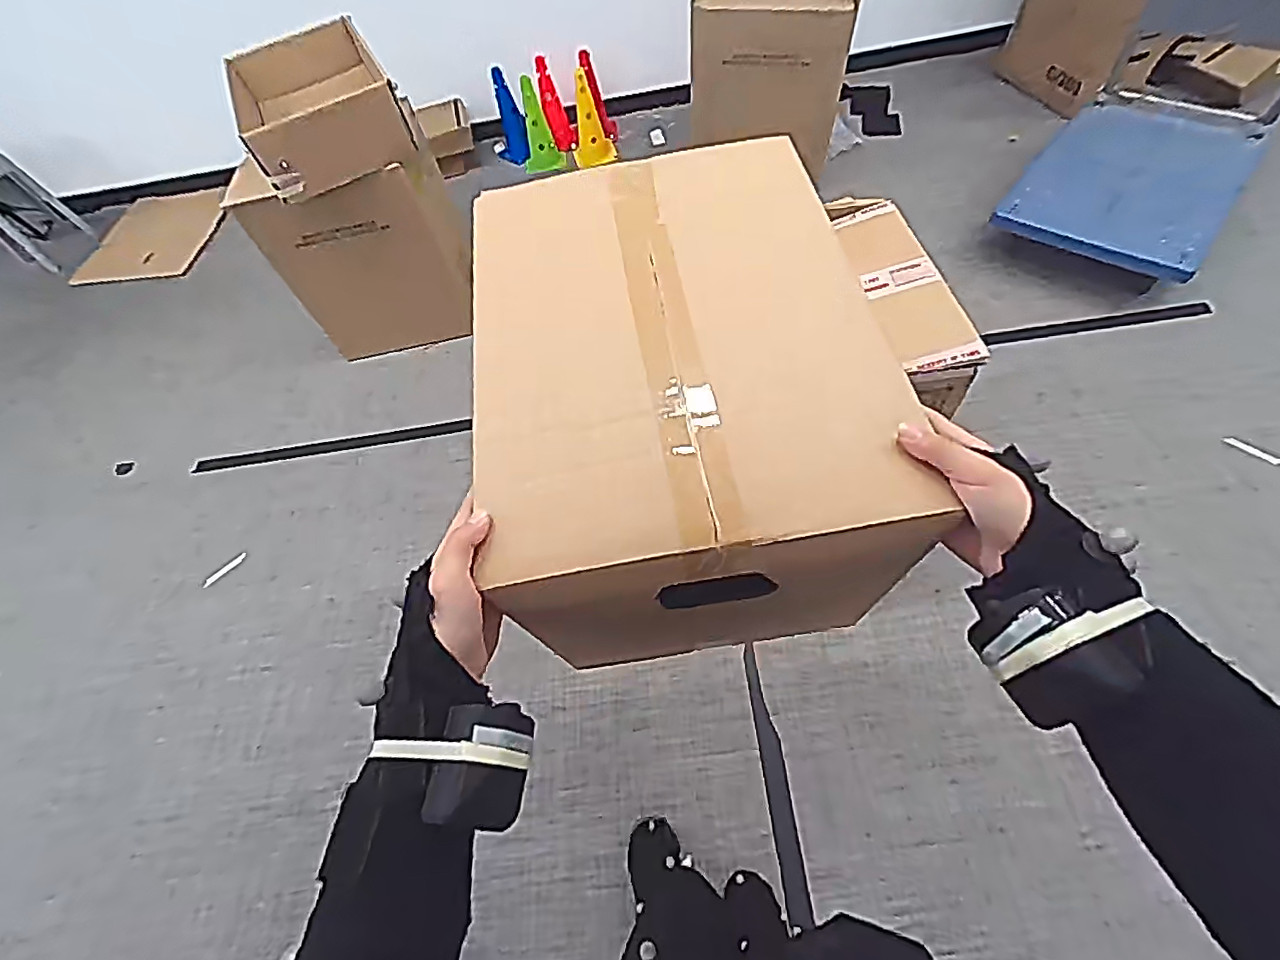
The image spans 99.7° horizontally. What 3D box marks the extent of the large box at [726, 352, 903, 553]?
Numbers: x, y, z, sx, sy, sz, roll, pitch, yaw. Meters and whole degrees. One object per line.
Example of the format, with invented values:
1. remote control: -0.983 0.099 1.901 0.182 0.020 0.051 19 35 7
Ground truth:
1. large box: 0.419 -0.066 1.418 0.320 0.320 0.408 -9 58 3
